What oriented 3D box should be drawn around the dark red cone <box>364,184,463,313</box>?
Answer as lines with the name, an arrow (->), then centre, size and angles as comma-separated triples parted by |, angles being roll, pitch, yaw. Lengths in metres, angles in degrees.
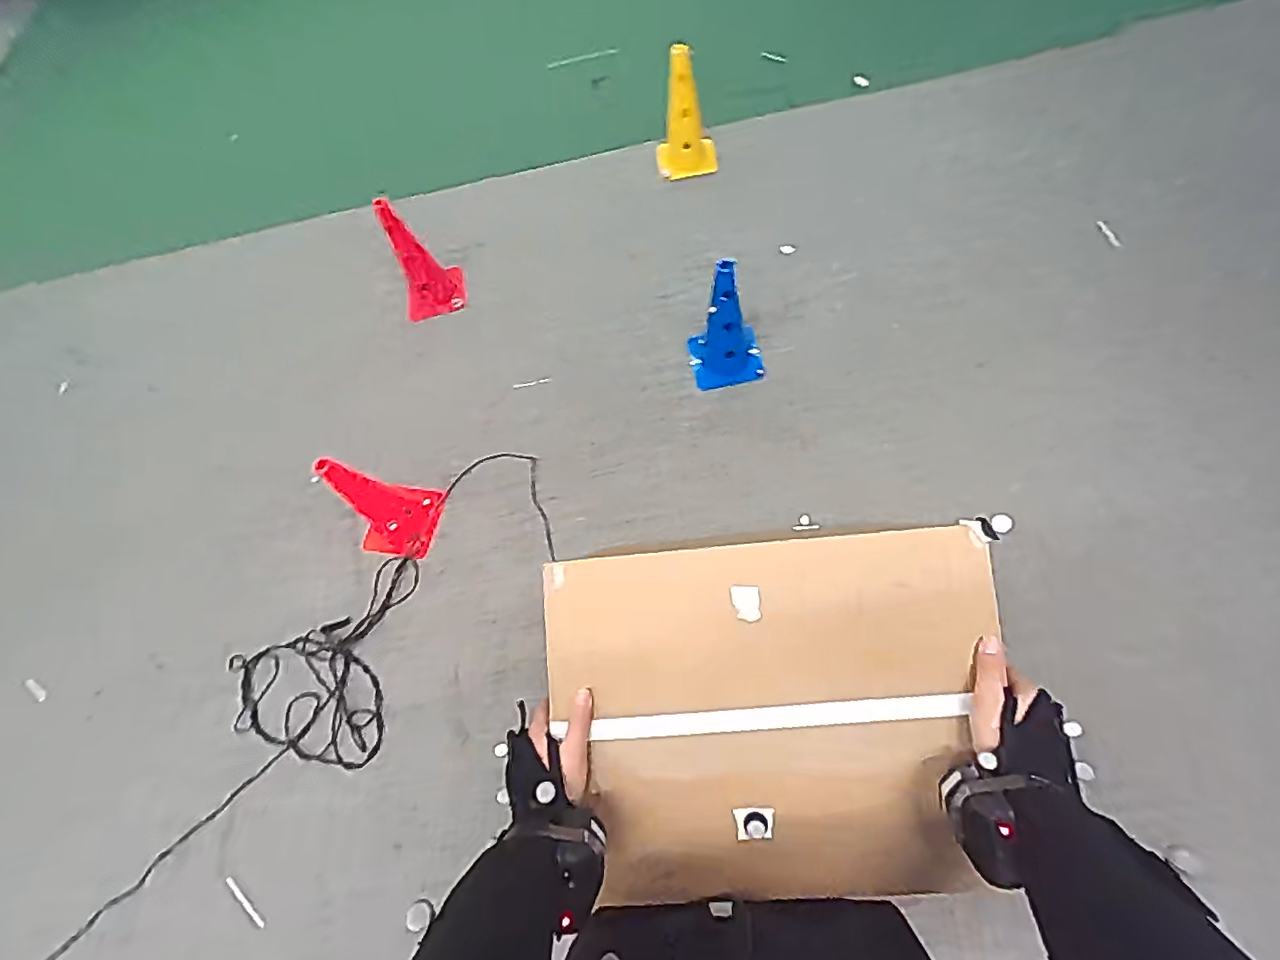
dark red cone -> -0.726, -0.734, 1.694 | 0.202, 0.394, 0.201 | -17, 60, 1

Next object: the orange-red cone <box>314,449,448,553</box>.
orange-red cone -> -0.677, 0.026, 1.350 | 0.199, 0.360, 0.198 | 7, 65, 14

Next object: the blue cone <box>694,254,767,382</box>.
blue cone -> 0.236, -0.440, 1.434 | 0.192, 0.380, 0.193 | -10, 64, 4
